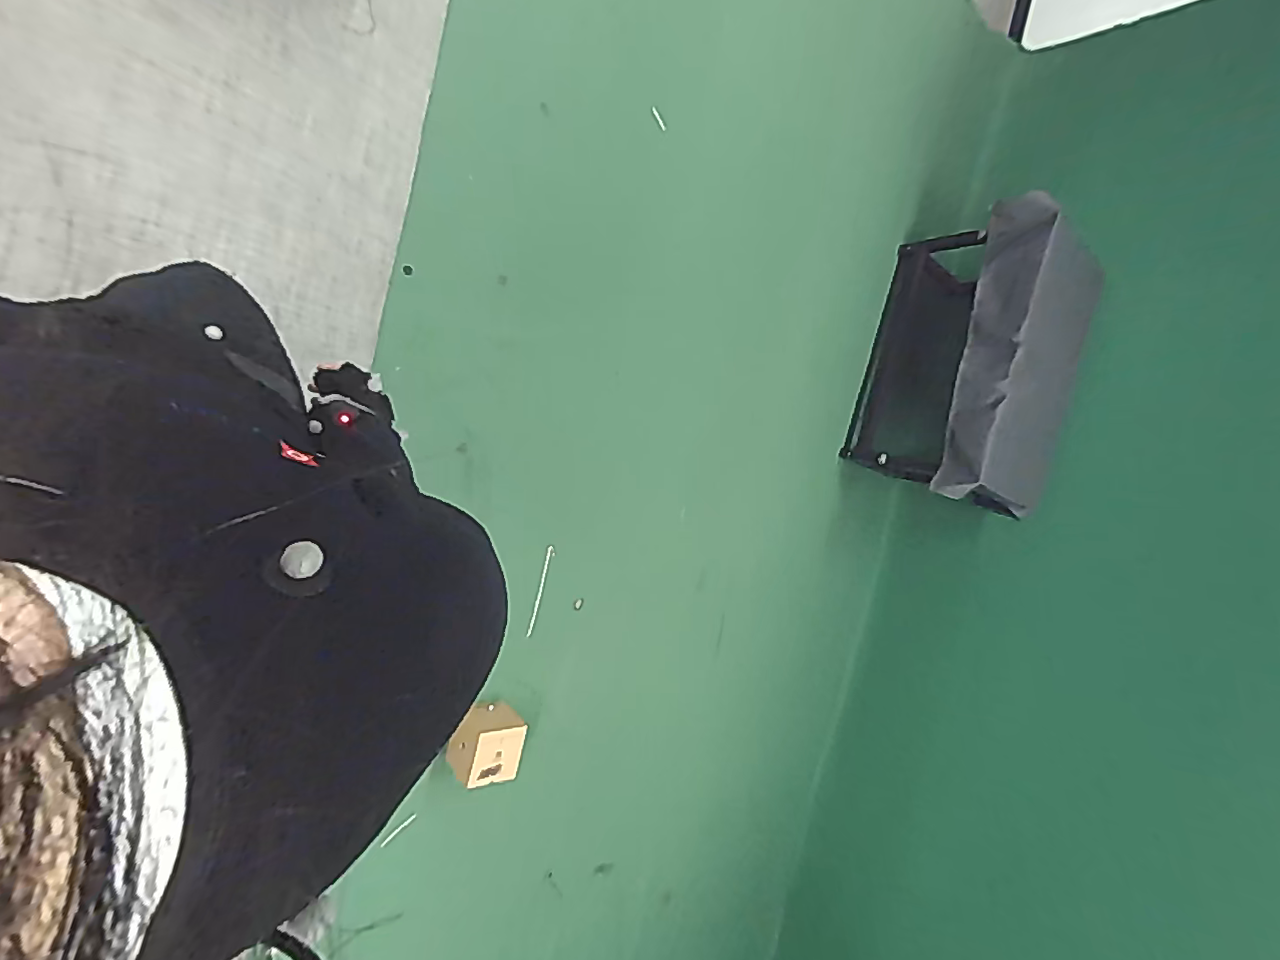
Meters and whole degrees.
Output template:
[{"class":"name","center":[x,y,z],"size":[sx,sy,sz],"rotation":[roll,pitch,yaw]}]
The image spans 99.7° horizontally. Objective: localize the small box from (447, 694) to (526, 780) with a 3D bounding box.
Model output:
[{"class":"small box","center":[-0.493,0.809,1.717],"size":[0.168,0.176,0.179],"rotation":[13,93,-43]}]
